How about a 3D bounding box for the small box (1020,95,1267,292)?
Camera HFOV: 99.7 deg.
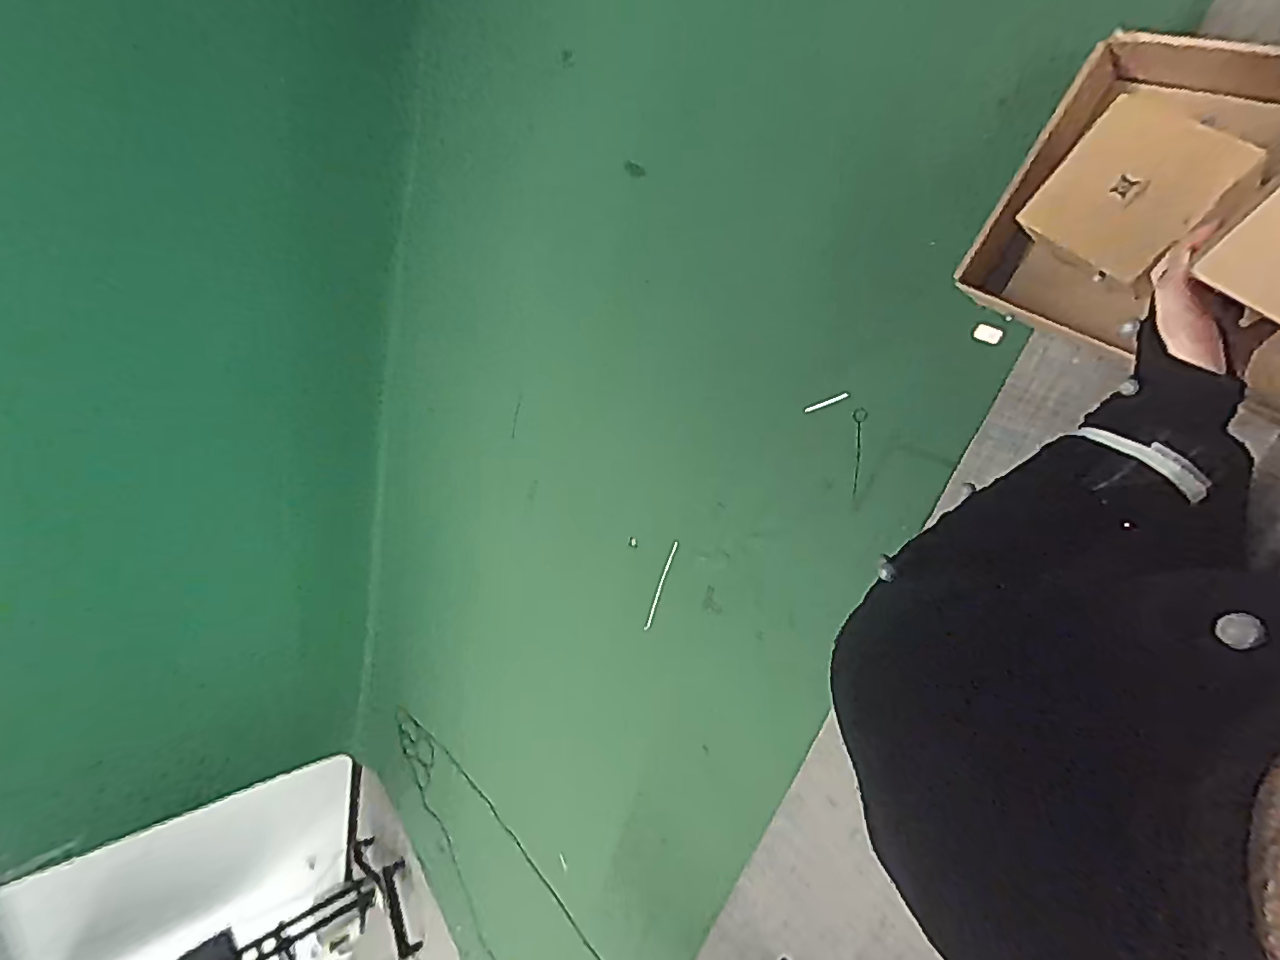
[{"bbox_3d":[0.680,-0.380,0.747,0.179,0.176,0.168,52,128,26],"label":"small box"}]
